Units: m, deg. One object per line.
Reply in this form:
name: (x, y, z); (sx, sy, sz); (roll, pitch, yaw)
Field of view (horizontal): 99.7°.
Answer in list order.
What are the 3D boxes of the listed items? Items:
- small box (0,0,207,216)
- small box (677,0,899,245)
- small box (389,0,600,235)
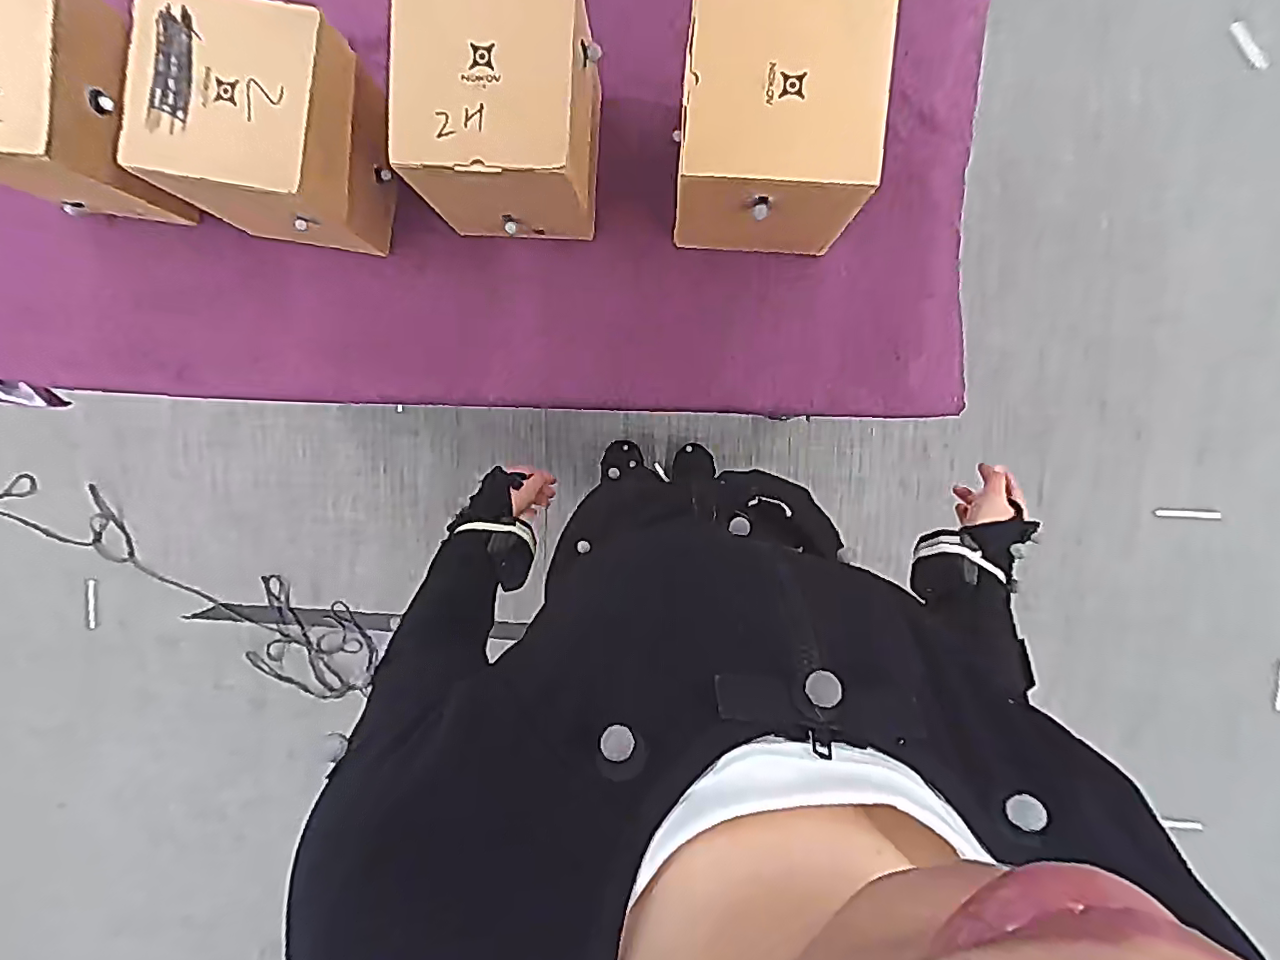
small box: (-0.611, -0.408, 0.578); (0.168, 0.176, 0.179); (8, 95, 2)
small box: (0.132, -0.351, 0.545); (0.179, 0.176, 0.168); (5, 93, 3)
small box: (-0.135, -0.377, 0.557); (0.168, 0.176, 0.179); (4, 94, 3)
